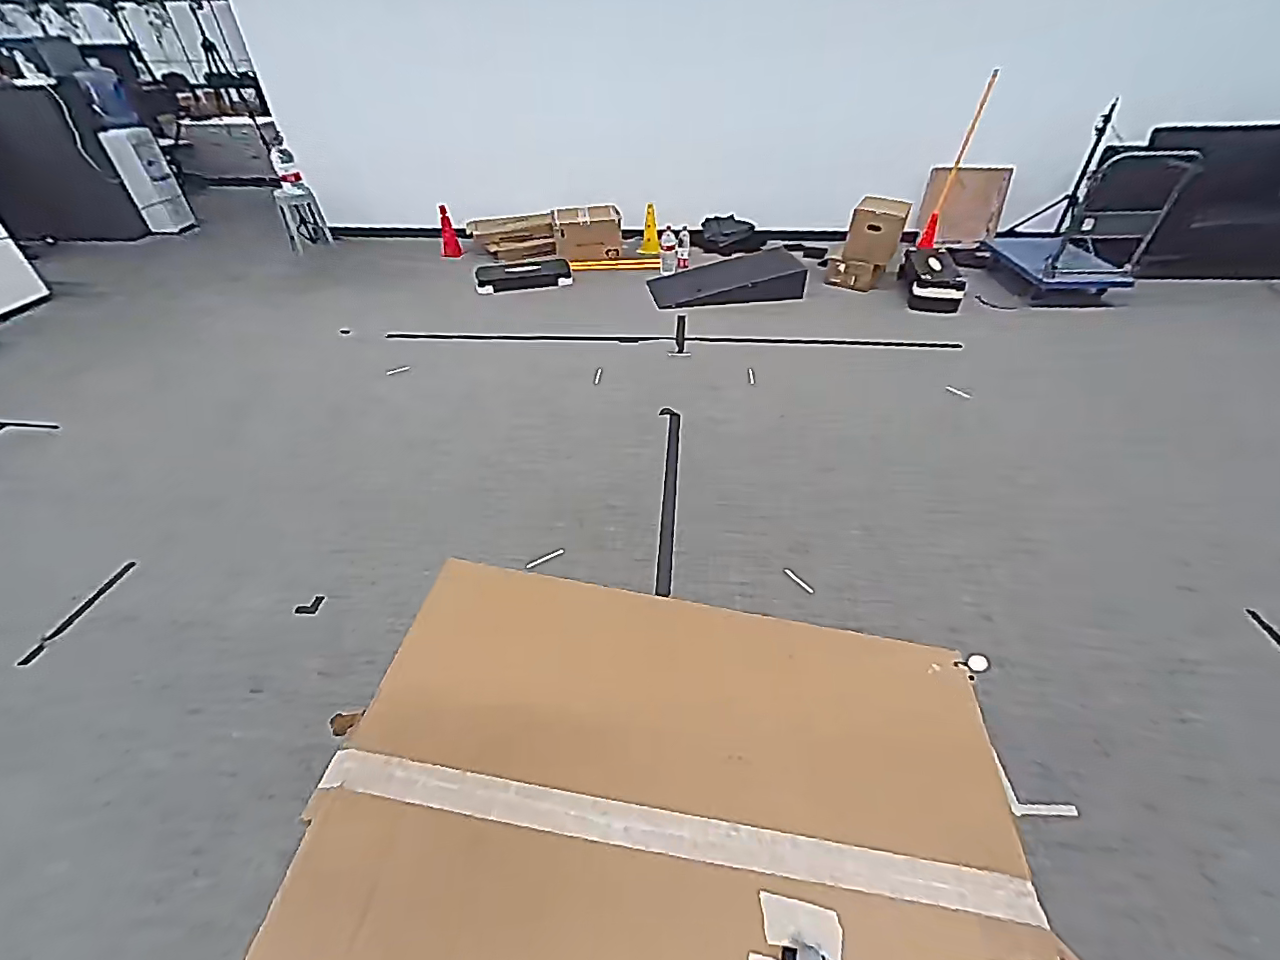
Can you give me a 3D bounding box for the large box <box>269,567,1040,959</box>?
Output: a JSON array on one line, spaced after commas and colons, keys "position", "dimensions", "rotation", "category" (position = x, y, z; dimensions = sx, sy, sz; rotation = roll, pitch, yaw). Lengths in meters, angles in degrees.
[{"position": [0.008, 0.311, 0.424], "dimensions": [0.408, 0.320, 0.320], "rotation": [11, 46, 2], "category": "large box"}]
